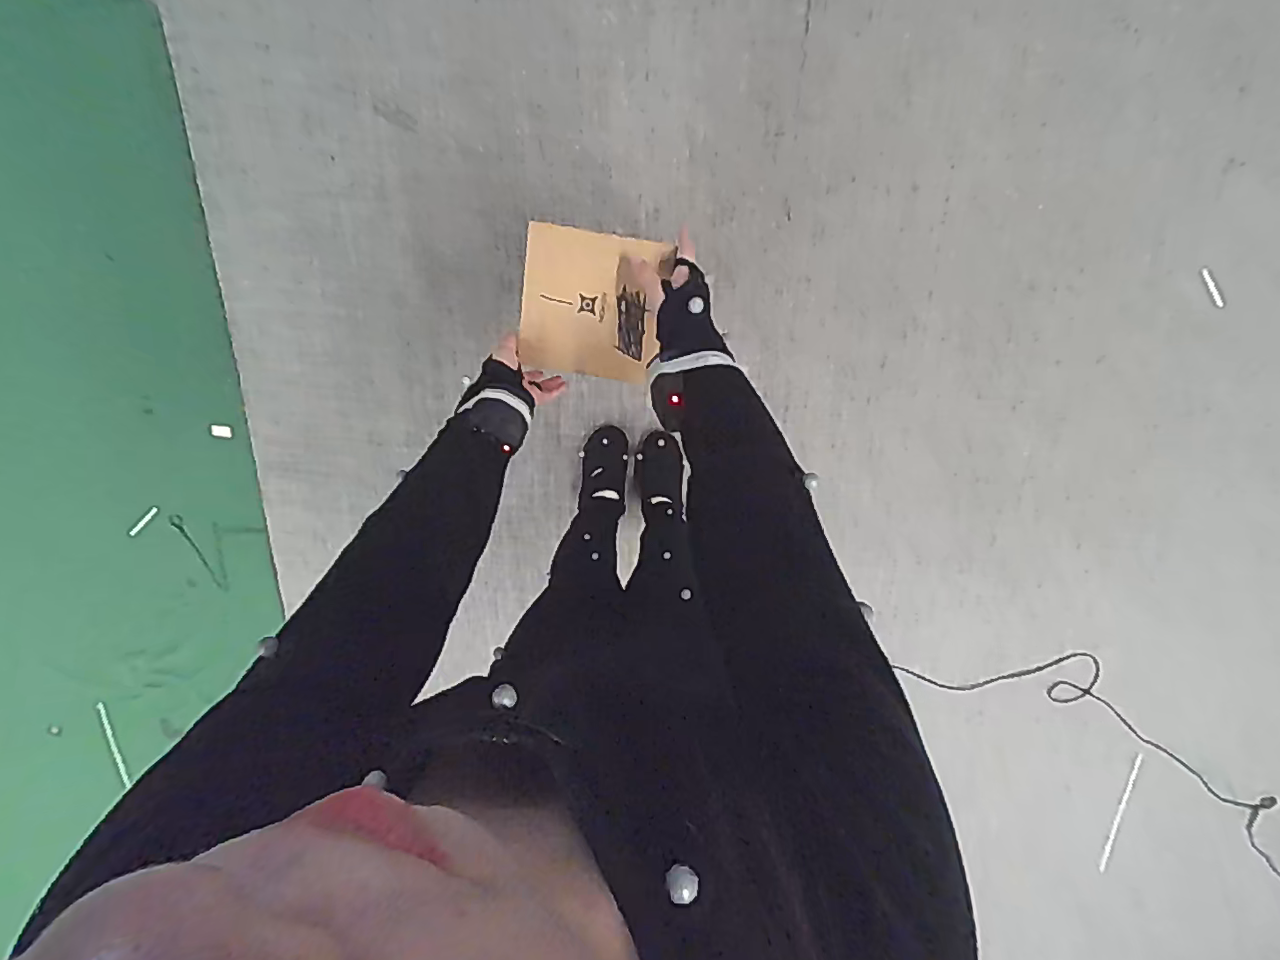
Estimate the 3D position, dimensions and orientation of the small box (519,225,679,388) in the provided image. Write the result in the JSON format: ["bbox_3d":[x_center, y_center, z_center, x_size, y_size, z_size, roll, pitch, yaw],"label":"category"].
[{"bbox_3d":[-0.049,-0.230,0.727,0.179,0.176,0.168,10,107,1],"label":"small box"}]
